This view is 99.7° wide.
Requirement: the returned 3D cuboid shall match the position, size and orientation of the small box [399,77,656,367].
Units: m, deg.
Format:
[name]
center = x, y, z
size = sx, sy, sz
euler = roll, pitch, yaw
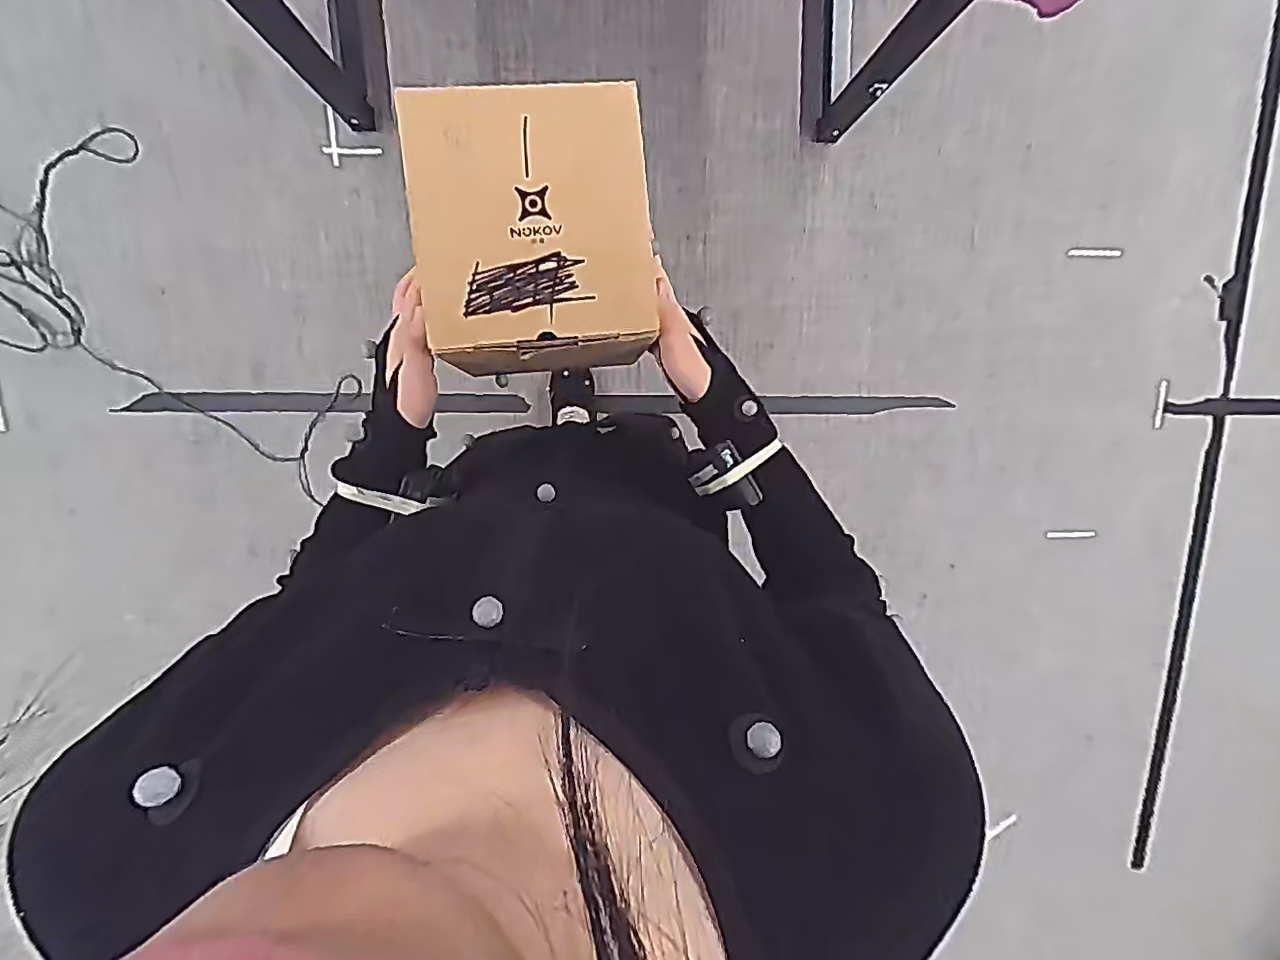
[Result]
[small box]
center = -0.083, -0.193, 0.454
size = 0.168, 0.176, 0.179
euler = -6, 94, -6
